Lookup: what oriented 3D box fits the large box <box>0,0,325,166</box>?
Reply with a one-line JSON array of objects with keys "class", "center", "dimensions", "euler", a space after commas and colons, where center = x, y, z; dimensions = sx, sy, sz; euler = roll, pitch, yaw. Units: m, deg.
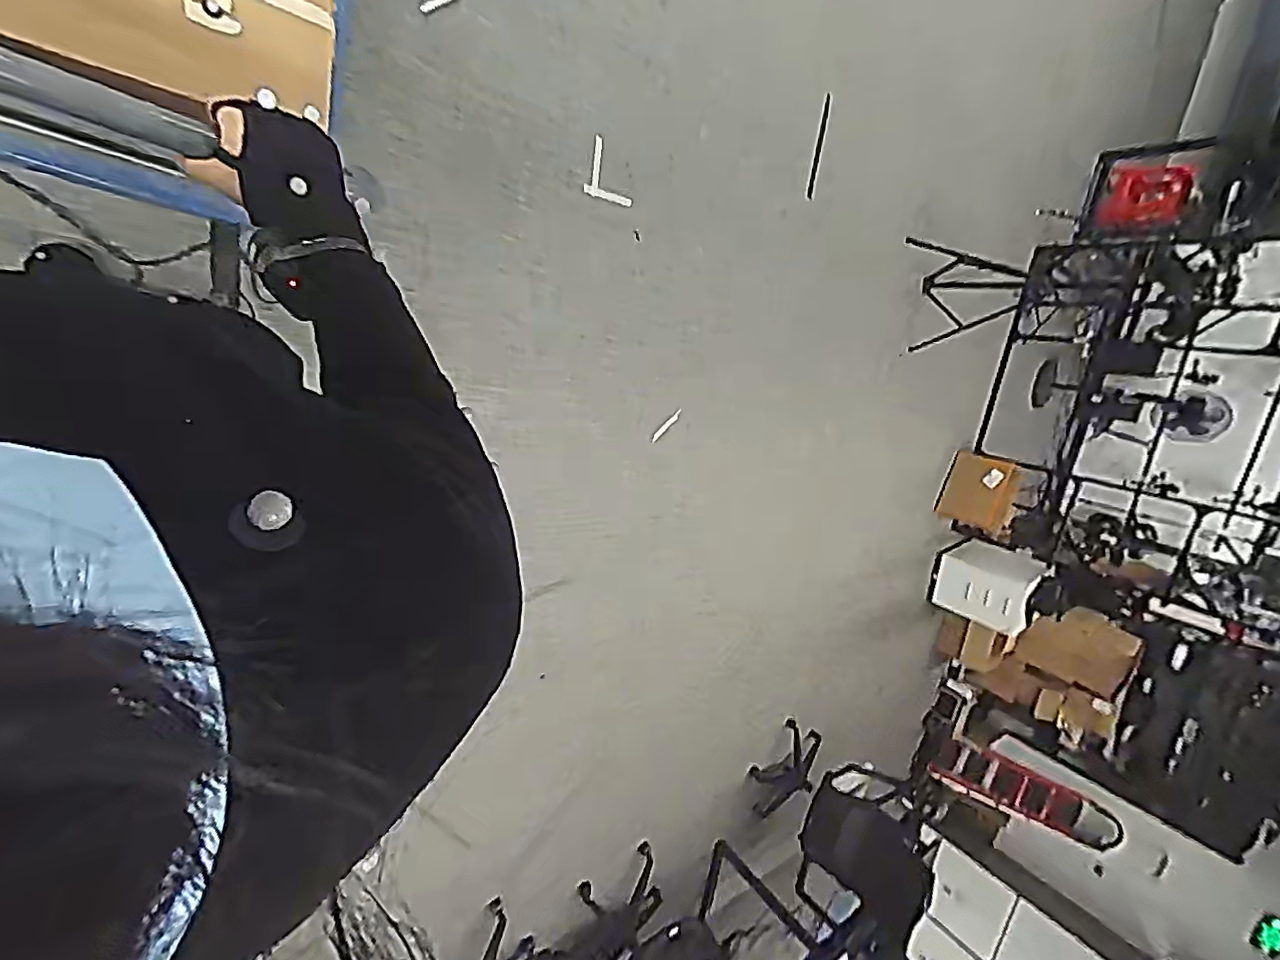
[{"class": "large box", "center": [-0.704, -0.697, 0.765], "dimensions": [0.408, 0.320, 0.320], "euler": [-2, 107, -41]}]
